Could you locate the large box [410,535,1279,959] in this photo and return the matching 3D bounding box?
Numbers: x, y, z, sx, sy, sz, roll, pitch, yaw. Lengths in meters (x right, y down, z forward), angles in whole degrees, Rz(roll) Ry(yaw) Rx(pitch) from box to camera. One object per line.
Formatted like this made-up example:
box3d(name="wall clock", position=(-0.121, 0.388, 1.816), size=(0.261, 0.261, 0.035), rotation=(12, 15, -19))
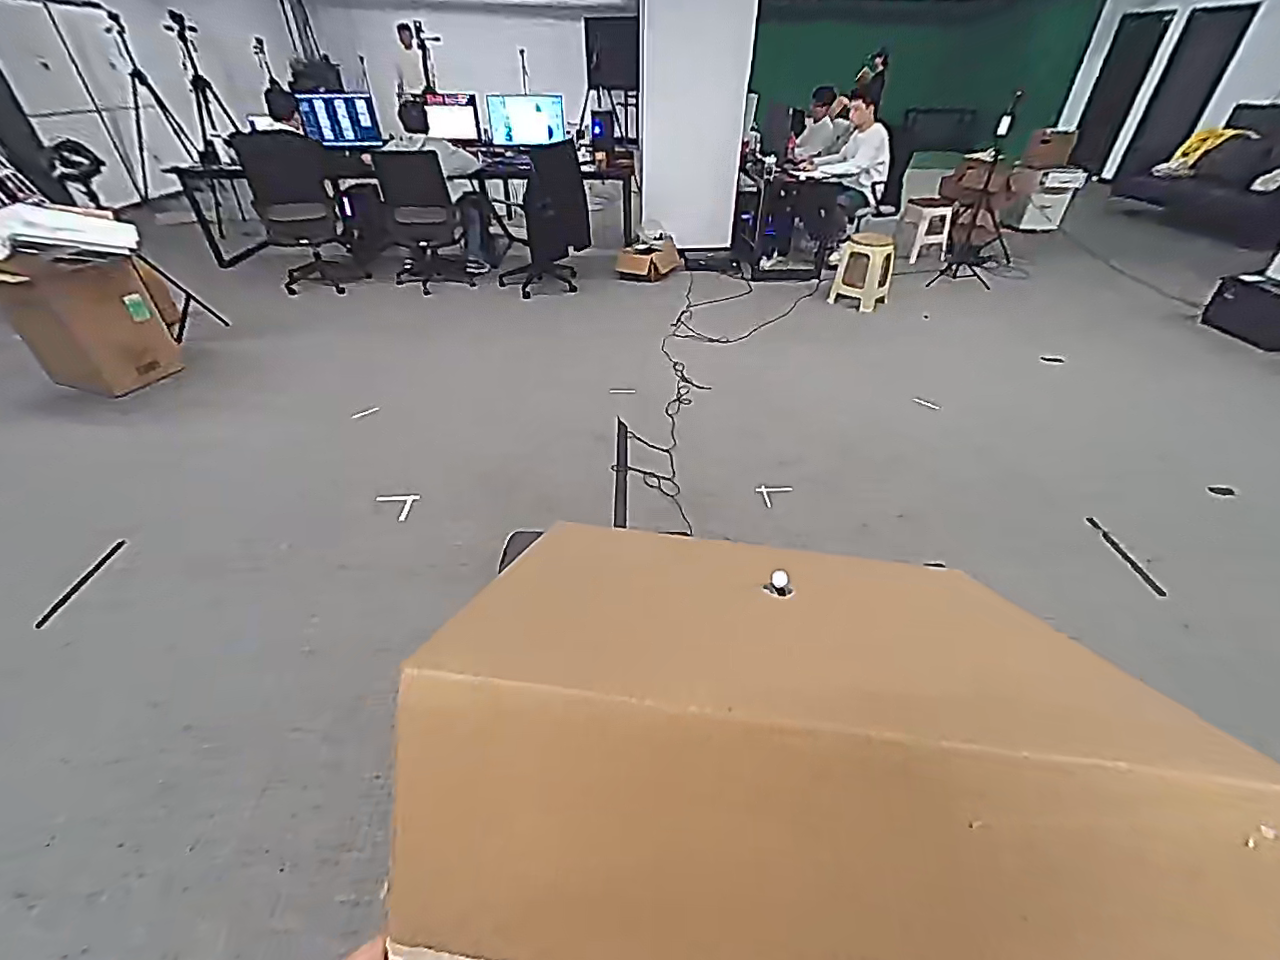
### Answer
box3d(name="large box", position=(0.086, 0.237, 0.416), size=(0.408, 0.320, 0.320), rotation=(5, 9, 3))
